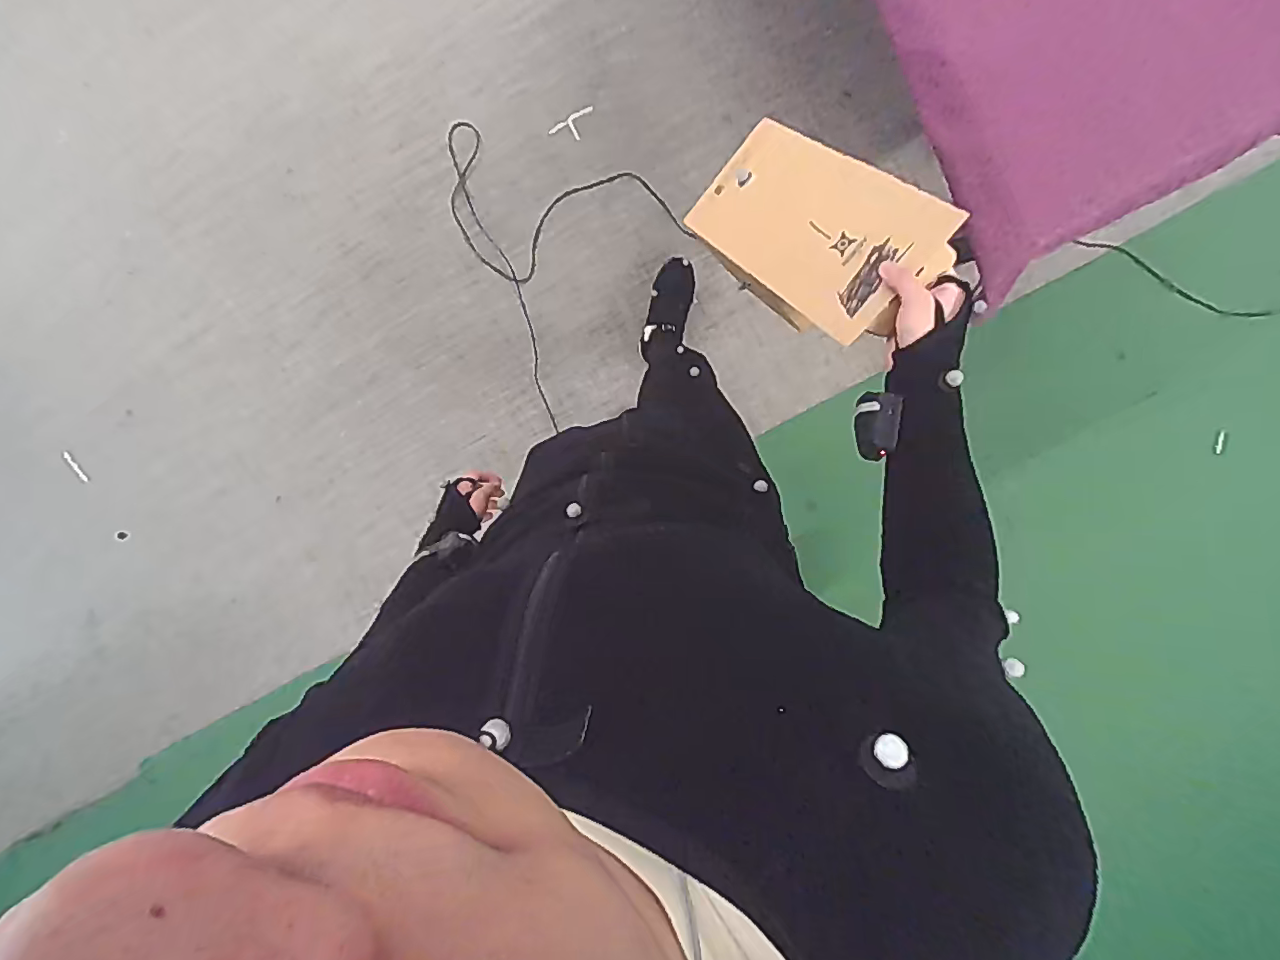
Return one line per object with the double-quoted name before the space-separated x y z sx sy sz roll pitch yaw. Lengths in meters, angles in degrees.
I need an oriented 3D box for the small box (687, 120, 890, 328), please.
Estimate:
"small box" 0.200 -0.350 0.743 0.168 0.176 0.179 -48 142 17
